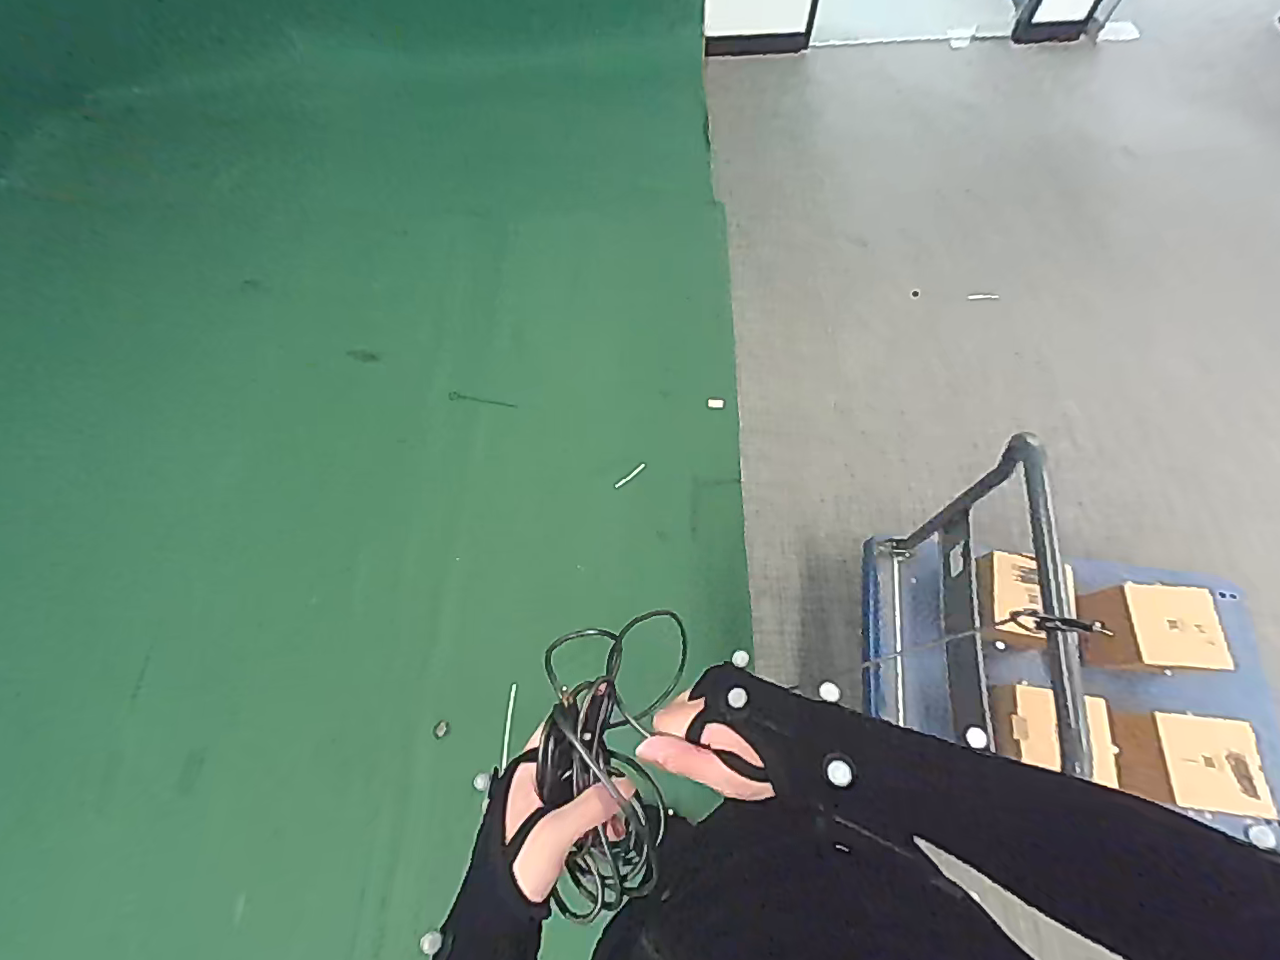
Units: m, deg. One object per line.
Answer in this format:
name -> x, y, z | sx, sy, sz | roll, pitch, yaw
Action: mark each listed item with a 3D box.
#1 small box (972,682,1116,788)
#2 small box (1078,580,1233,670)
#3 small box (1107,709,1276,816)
small box -> 0.827, 0.522, 1.126 | 0.179, 0.176, 0.168 | 7, 68, 7
small box -> 1.114, 0.324, 1.192 | 0.179, 0.176, 0.168 | 3, 68, 5
small box -> 1.087, 0.561, 1.094 | 0.179, 0.176, 0.168 | 4, 67, 6
